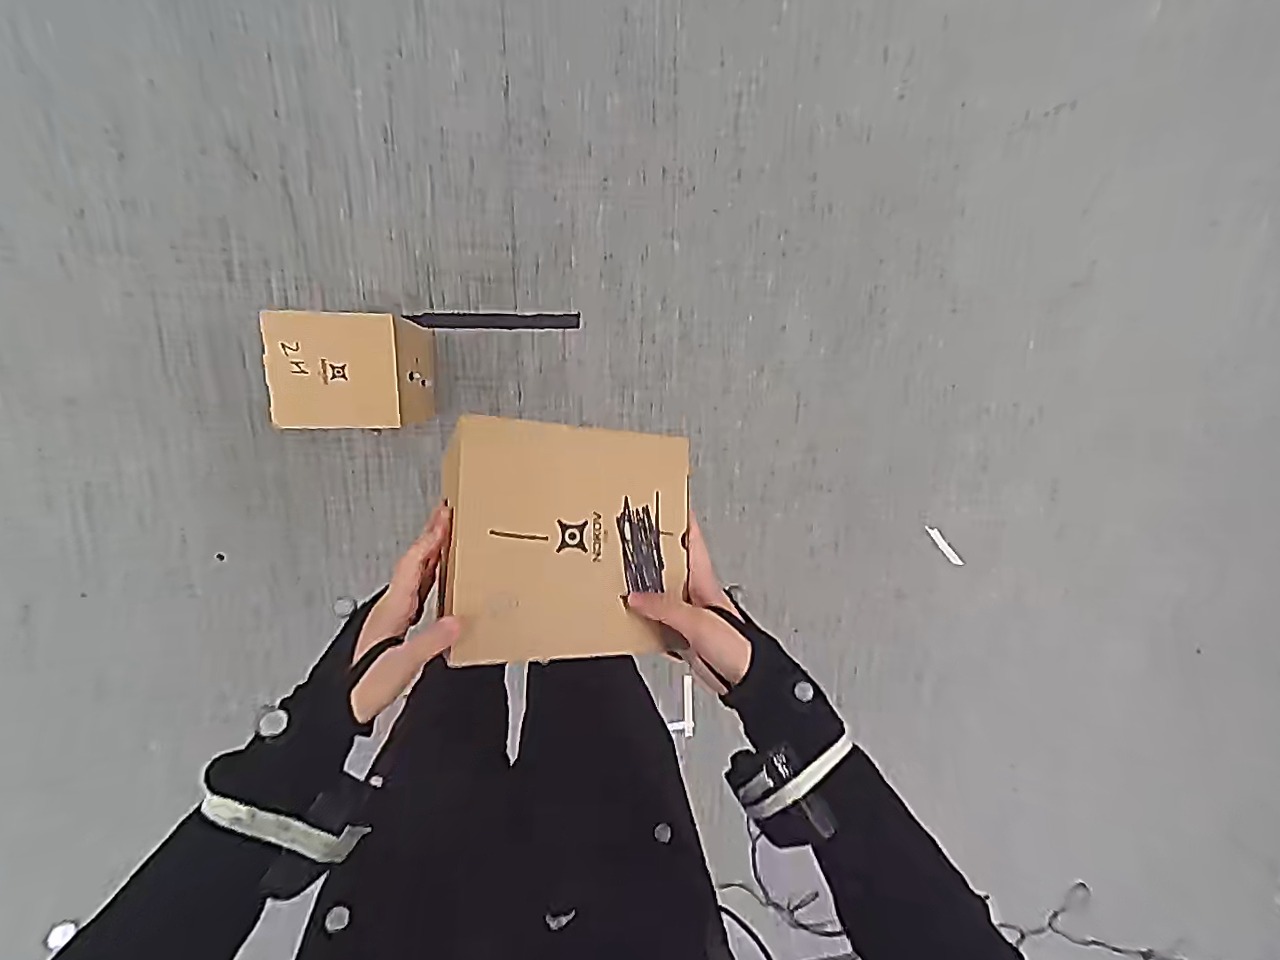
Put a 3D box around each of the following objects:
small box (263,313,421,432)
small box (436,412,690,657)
[{"bbox_3d":[-0.448,-0.165,0.846,0.179,0.176,0.168,-1,100,-11],"label":"small box"},{"bbox_3d":[-0.073,0.050,0.462,0.179,0.176,0.168,4,81,-23],"label":"small box"}]
